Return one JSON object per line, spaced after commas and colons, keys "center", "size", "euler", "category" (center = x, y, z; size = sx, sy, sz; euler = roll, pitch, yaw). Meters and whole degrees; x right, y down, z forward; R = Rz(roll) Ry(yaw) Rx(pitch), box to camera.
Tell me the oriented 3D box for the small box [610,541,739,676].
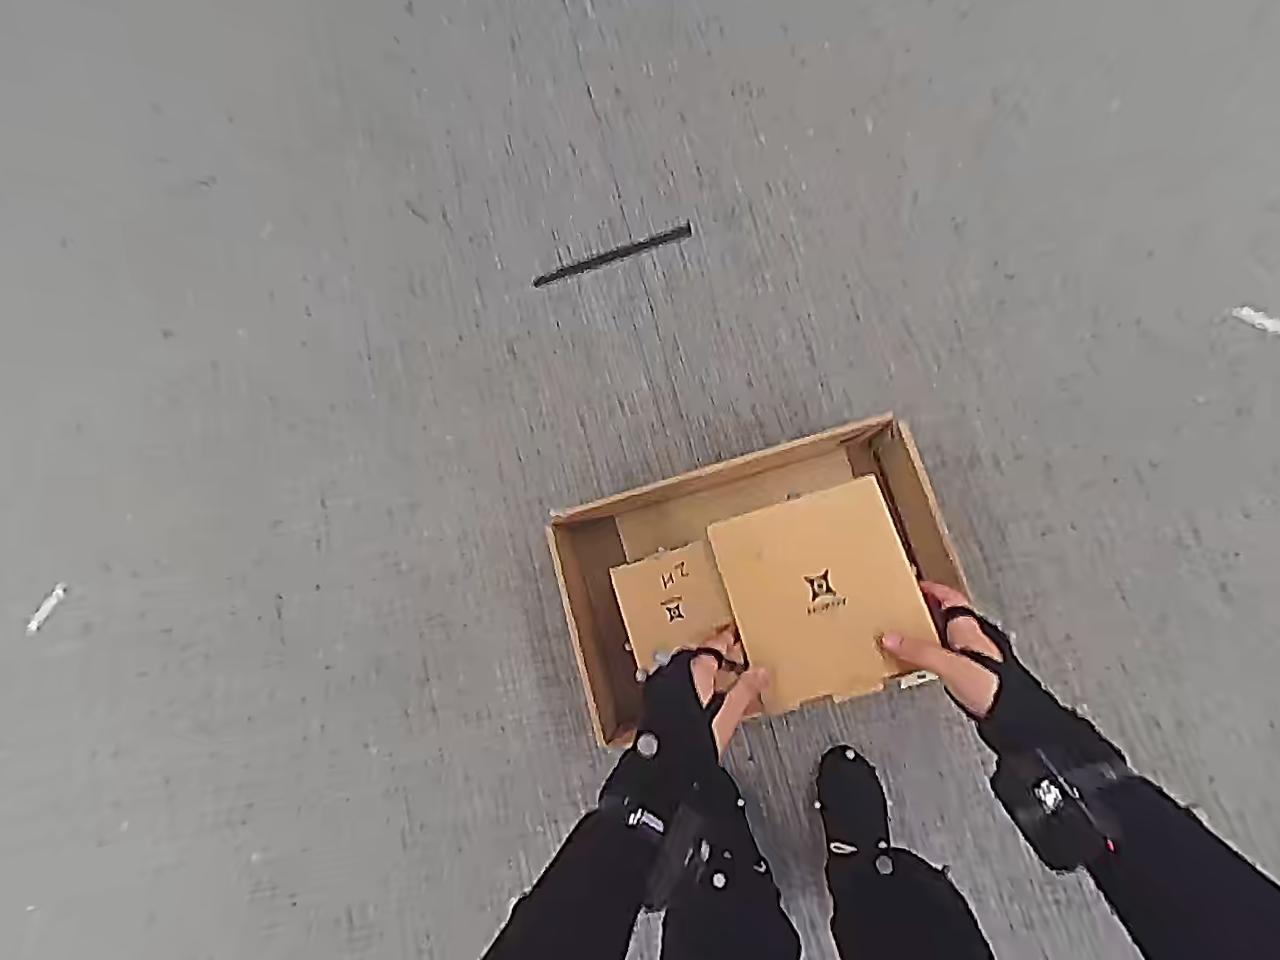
{"center": [0.062, 0.210, 0.918], "size": [0.168, 0.176, 0.179], "euler": [-18, 79, 4], "category": "small box"}
